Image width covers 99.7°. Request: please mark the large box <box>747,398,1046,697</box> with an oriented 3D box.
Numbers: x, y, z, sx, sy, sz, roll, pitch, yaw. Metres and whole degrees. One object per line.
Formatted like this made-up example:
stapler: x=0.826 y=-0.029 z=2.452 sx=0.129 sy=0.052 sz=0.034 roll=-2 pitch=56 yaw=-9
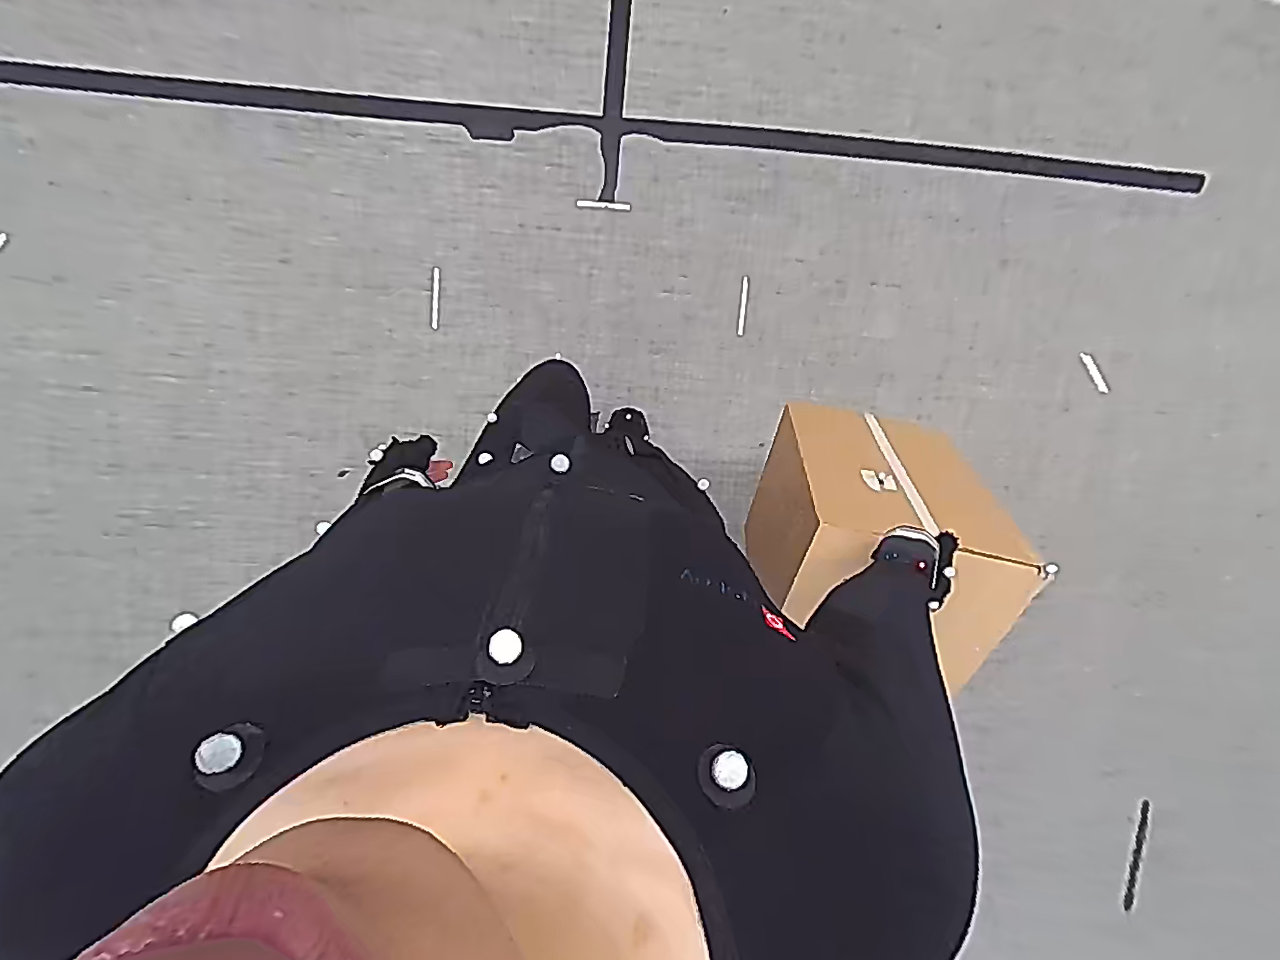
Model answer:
large box: x=0.392 y=0.101 z=0.968 sx=0.320 sy=0.408 sz=0.320 roll=11 pitch=125 yaw=1
